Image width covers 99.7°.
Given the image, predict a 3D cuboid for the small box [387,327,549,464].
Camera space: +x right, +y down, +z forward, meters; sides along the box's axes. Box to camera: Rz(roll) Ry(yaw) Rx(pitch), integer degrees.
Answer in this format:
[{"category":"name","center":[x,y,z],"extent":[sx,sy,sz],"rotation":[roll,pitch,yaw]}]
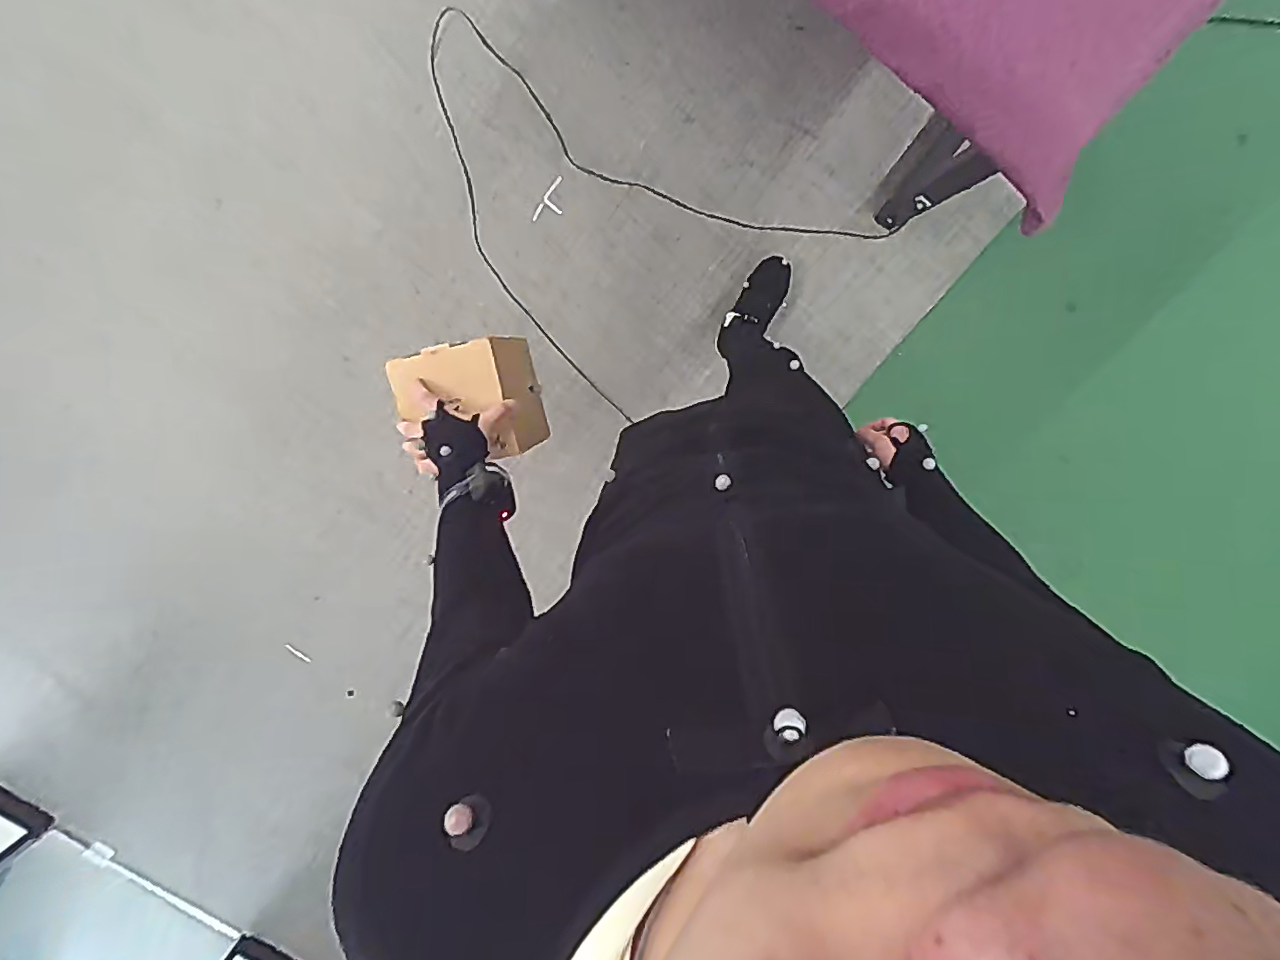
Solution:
[{"category":"small box","center":[-0.260,-0.135,0.858],"extent":[0.168,0.176,0.179],"rotation":[-9,102,11]}]
